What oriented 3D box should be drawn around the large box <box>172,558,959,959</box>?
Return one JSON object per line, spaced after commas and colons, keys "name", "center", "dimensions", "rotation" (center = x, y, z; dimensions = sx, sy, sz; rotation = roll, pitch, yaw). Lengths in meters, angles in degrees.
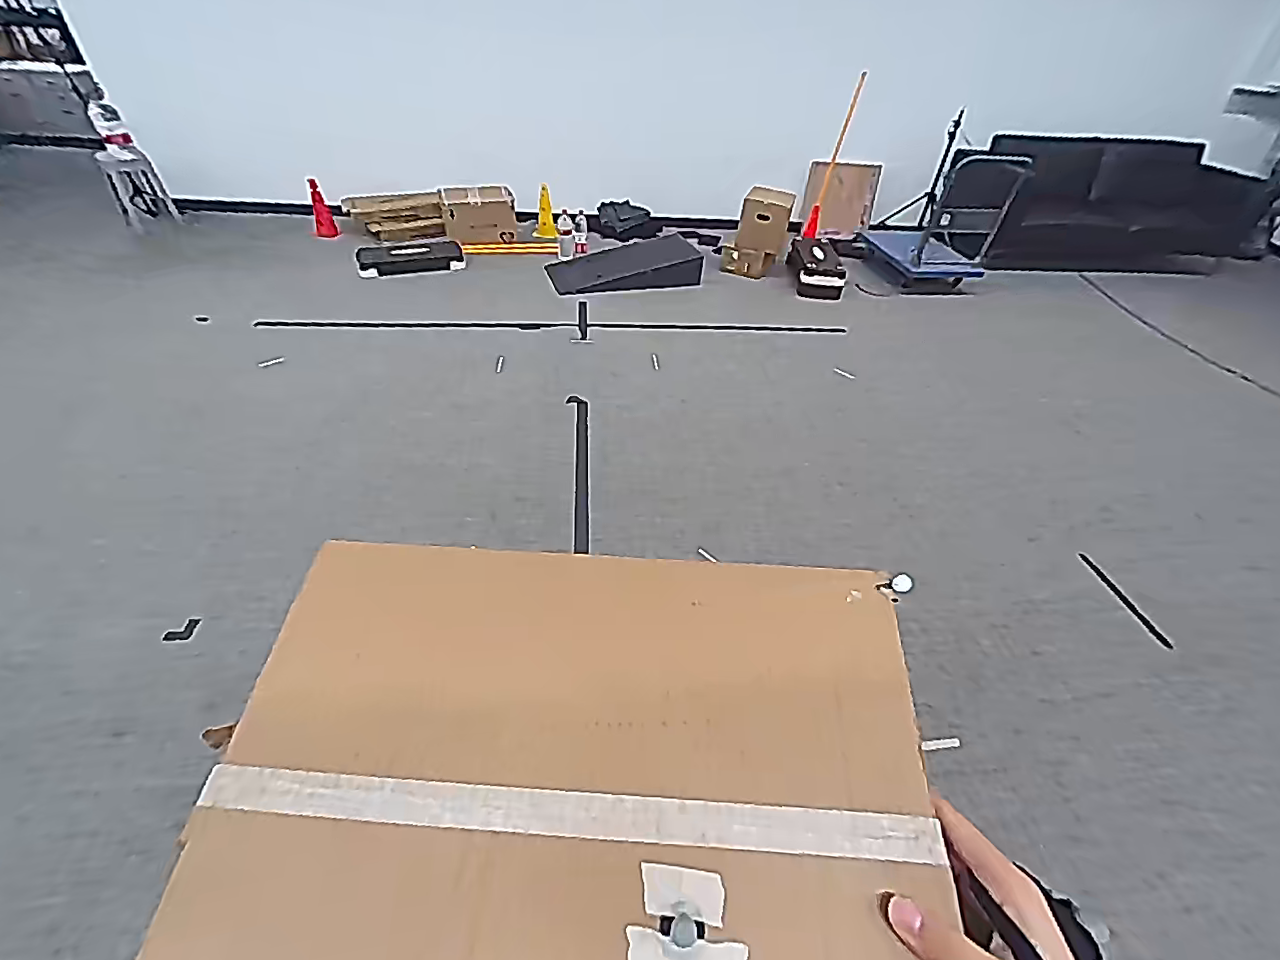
{"name": "large box", "center": [-0.034, 0.274, 0.429], "dimensions": [0.408, 0.320, 0.320], "rotation": [3, 57, 2]}
